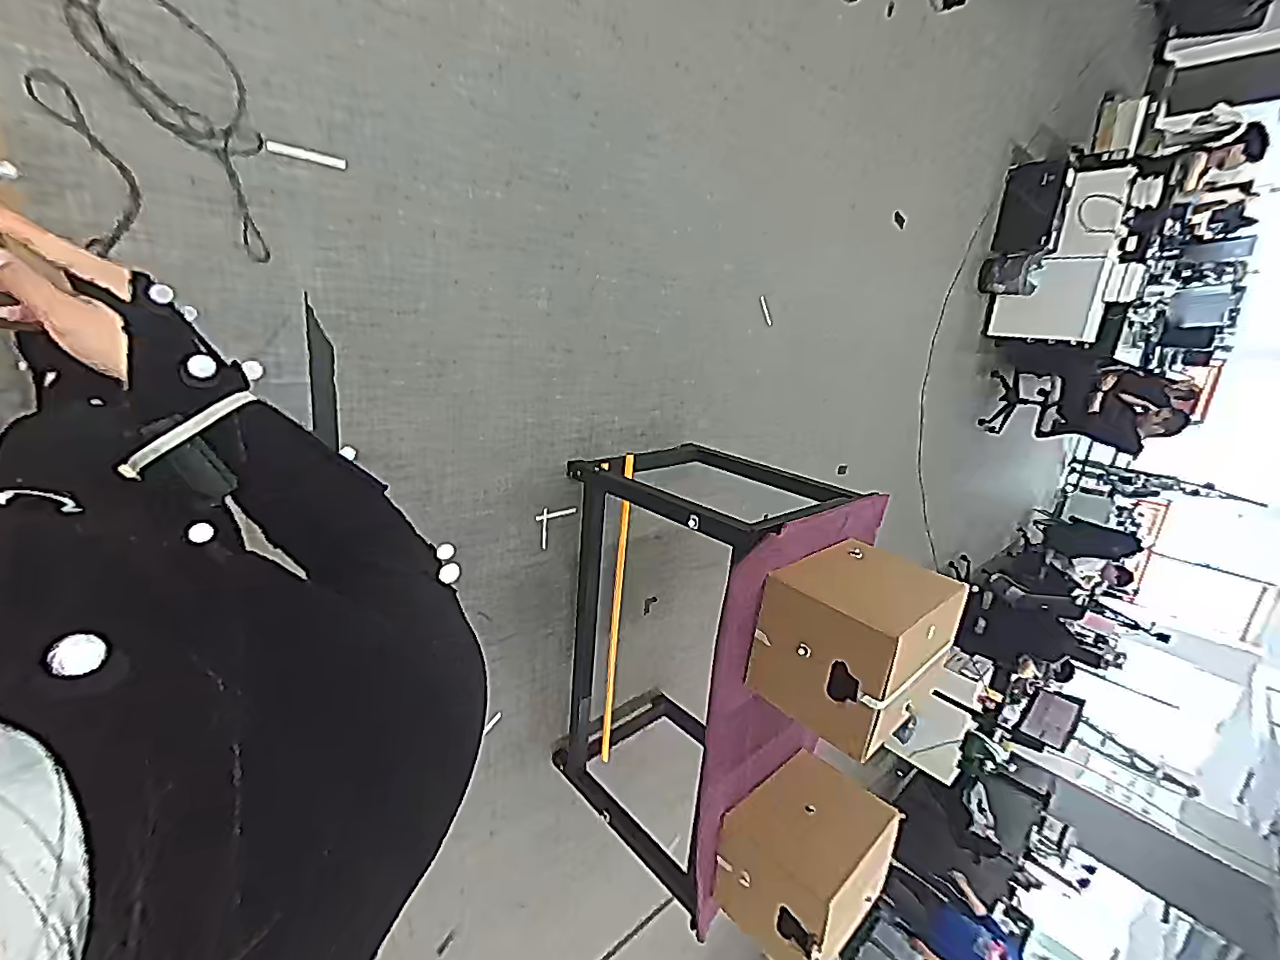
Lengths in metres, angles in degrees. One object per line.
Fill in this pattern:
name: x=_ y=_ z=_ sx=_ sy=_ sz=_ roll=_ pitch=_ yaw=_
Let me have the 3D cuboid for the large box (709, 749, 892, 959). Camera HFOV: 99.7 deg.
large box: x=0.441 y=1.047 z=1.504 sx=0.408 sy=0.320 sz=0.320 roll=-11 pitch=113 yaw=-43

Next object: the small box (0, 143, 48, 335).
small box: x=-0.514 y=-0.198 z=0.327 sx=0.168 sy=0.176 sz=0.179 roll=-15 pitch=94 yaw=-37
